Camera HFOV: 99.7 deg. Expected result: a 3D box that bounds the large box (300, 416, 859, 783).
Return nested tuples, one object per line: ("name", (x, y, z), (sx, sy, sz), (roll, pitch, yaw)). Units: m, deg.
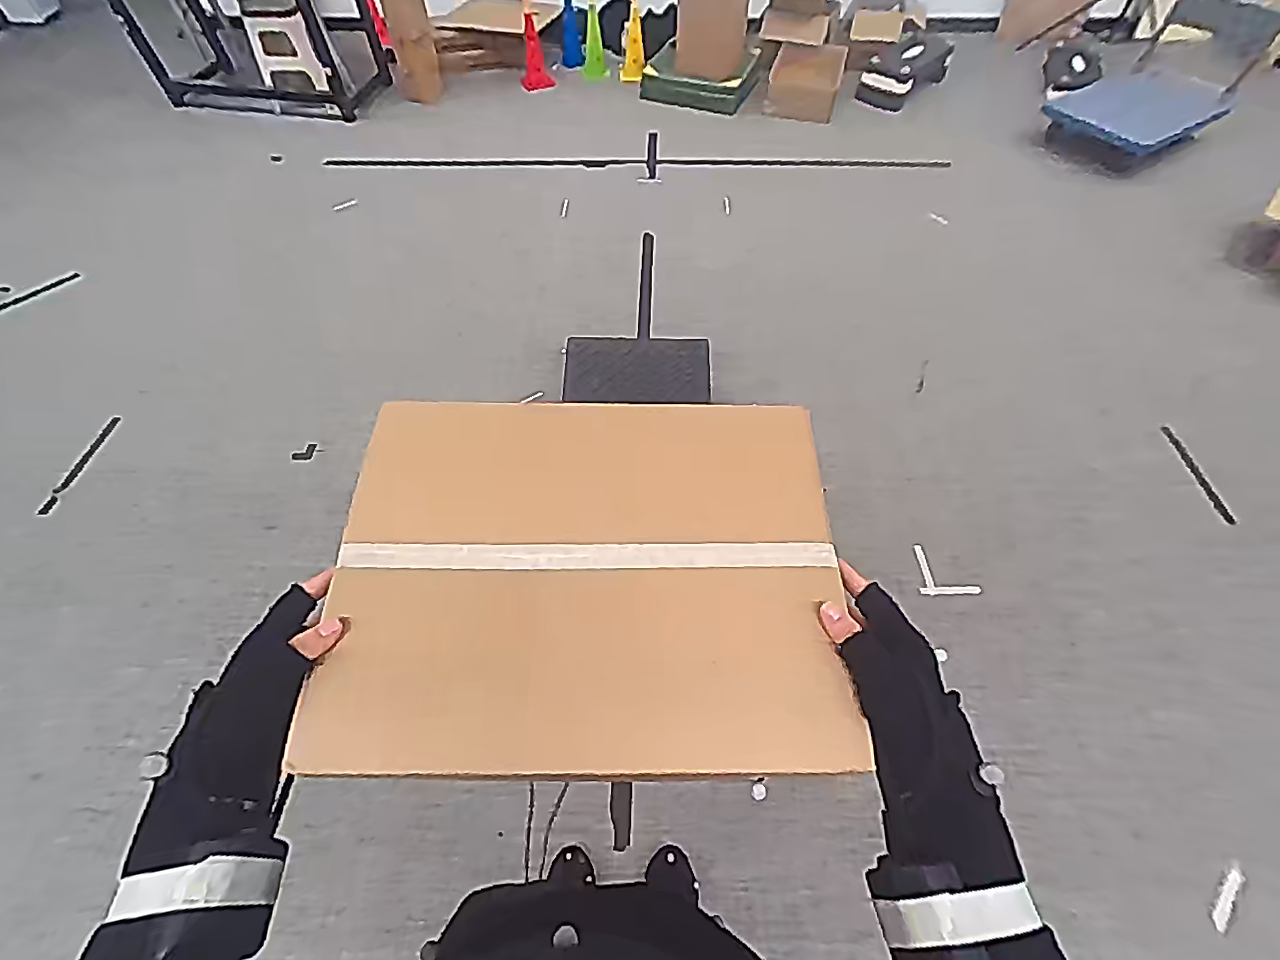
("large box", (-0.044, 0.144, 0.582), (0.408, 0.320, 0.320), (1, 60, -2))
